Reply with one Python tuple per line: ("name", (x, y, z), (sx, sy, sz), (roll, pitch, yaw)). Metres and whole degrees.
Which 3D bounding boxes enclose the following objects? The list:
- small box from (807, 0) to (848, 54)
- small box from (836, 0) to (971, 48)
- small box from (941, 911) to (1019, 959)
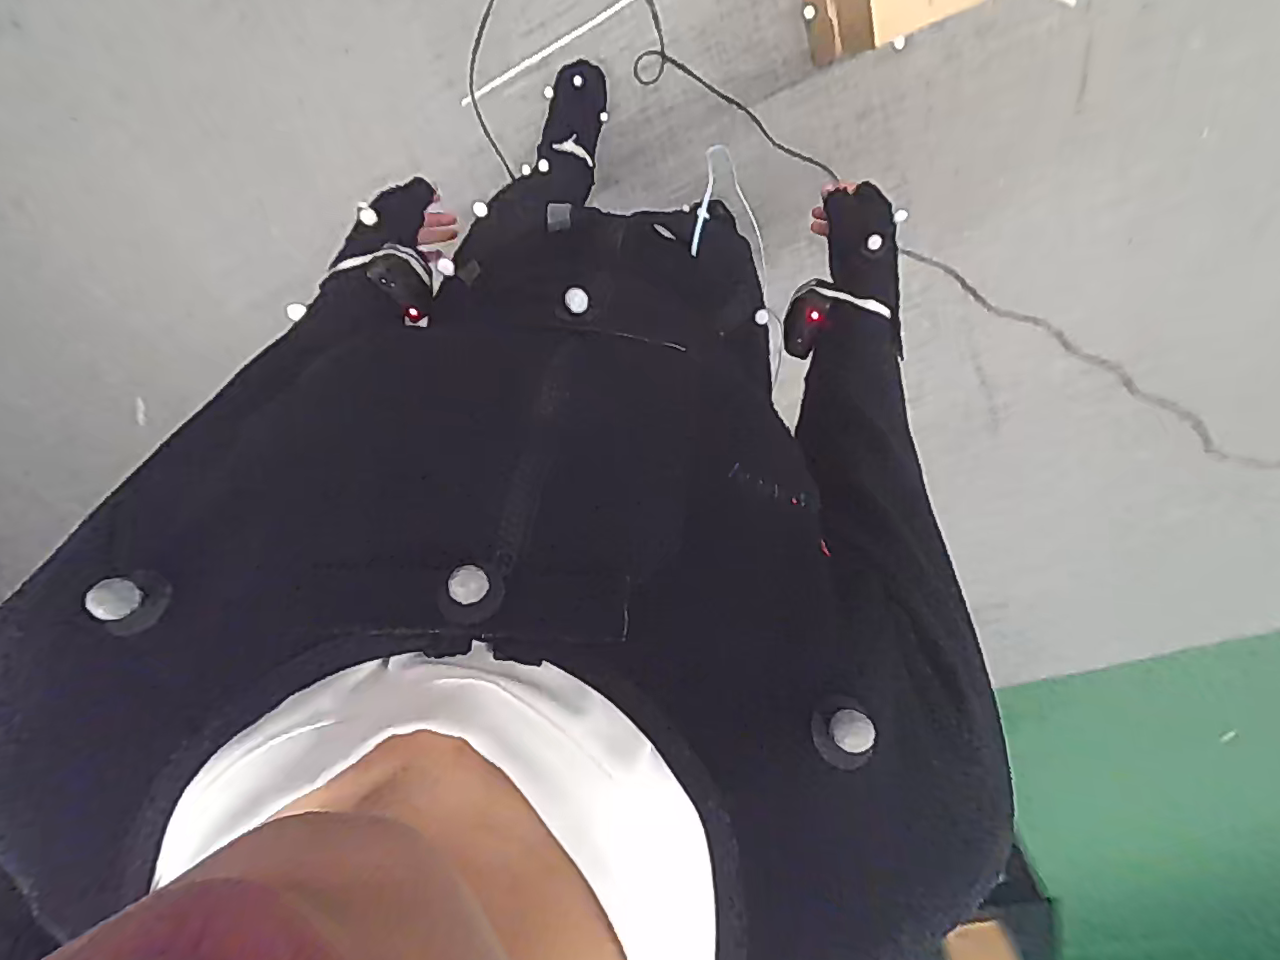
("small box", (0.392, -0.876, 0.942), (0.179, 0.176, 0.168), (-17, 123, 14))
("small box", (0.393, -0.784, 0.805), (0.168, 0.176, 0.179), (-17, 124, 12))
("small box", (1.066, 1.465, 1.671), (0.168, 0.176, 0.179), (-27, 119, 20))
